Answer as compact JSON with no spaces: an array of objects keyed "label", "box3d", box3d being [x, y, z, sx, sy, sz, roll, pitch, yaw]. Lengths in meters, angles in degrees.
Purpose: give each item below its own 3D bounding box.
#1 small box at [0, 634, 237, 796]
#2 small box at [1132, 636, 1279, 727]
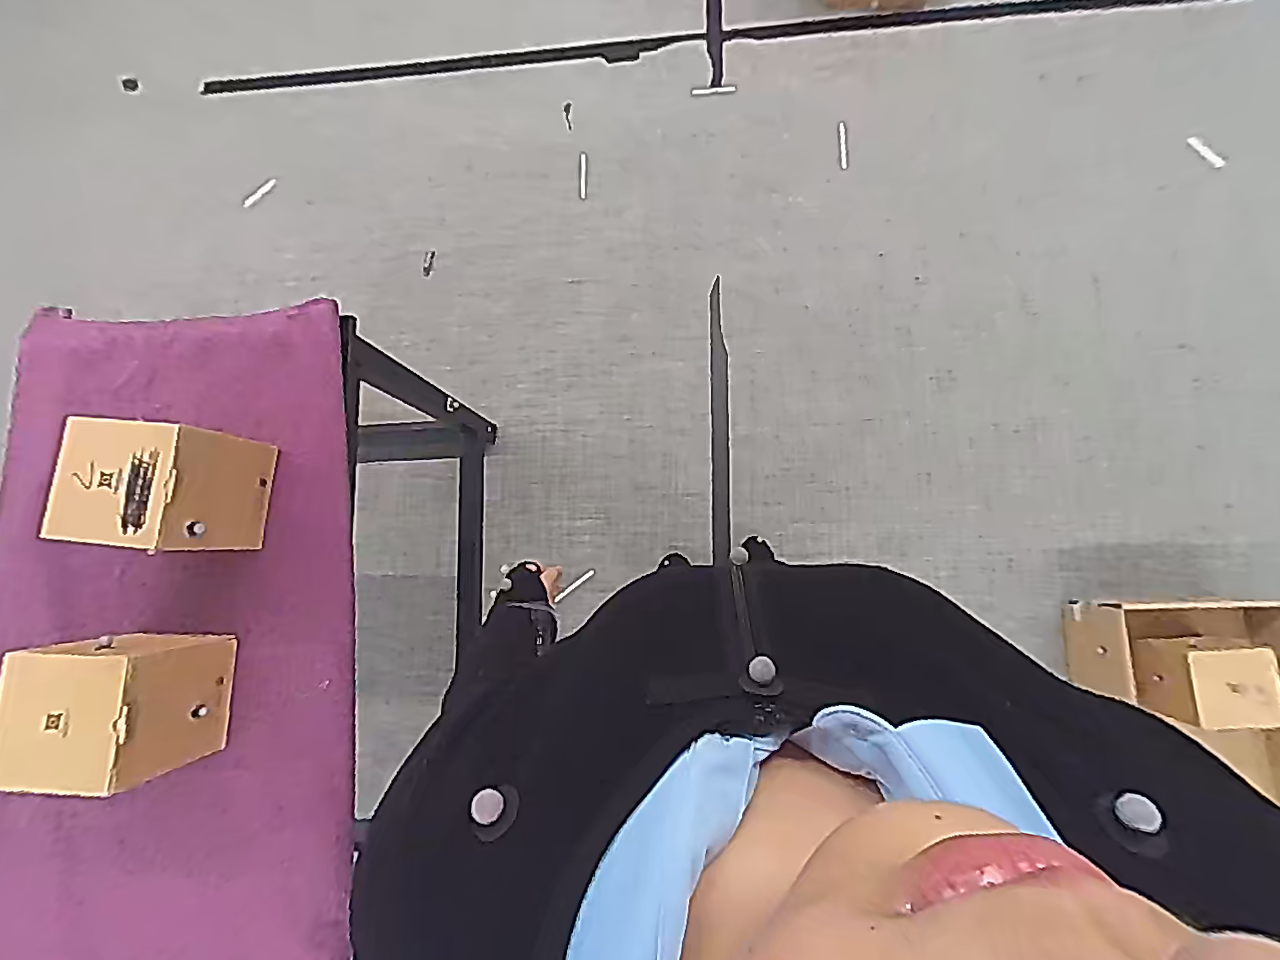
[{"label":"small box","box3d":[-0.711,0.309,0.746,0.179,0.176,0.168,0,82,5]},{"label":"small box","box3d":[1.293,0.461,1.251,0.179,0.176,0.168,-4,83,4]}]
